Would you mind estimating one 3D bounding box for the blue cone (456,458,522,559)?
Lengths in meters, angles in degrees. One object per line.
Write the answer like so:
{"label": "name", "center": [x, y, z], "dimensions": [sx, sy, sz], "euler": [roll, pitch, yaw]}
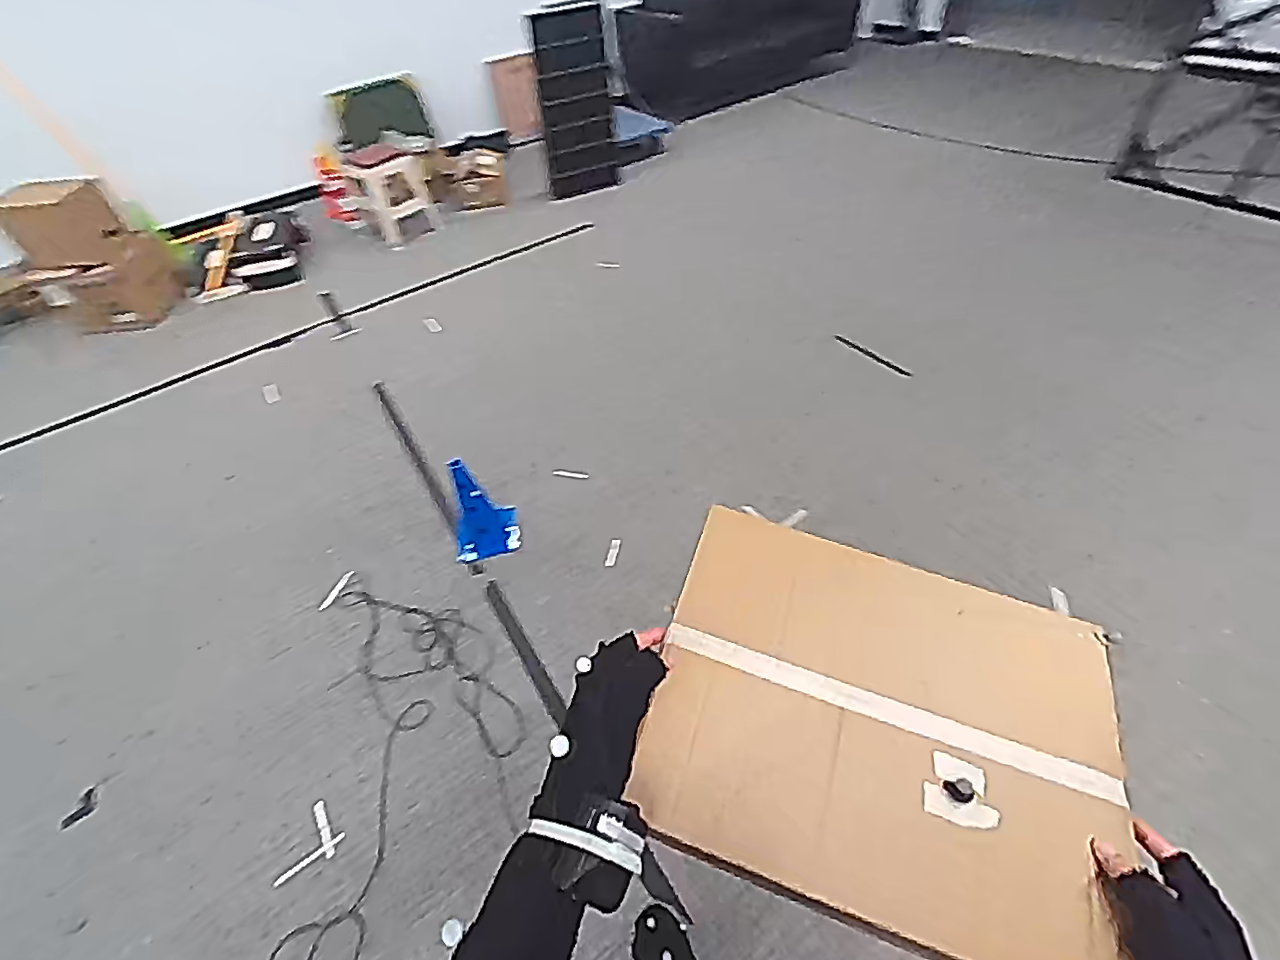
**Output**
{"label": "blue cone", "center": [-0.523, 0.077, 1.769], "dimensions": [0.193, 0.380, 0.192], "euler": [-12, 48, -5]}
